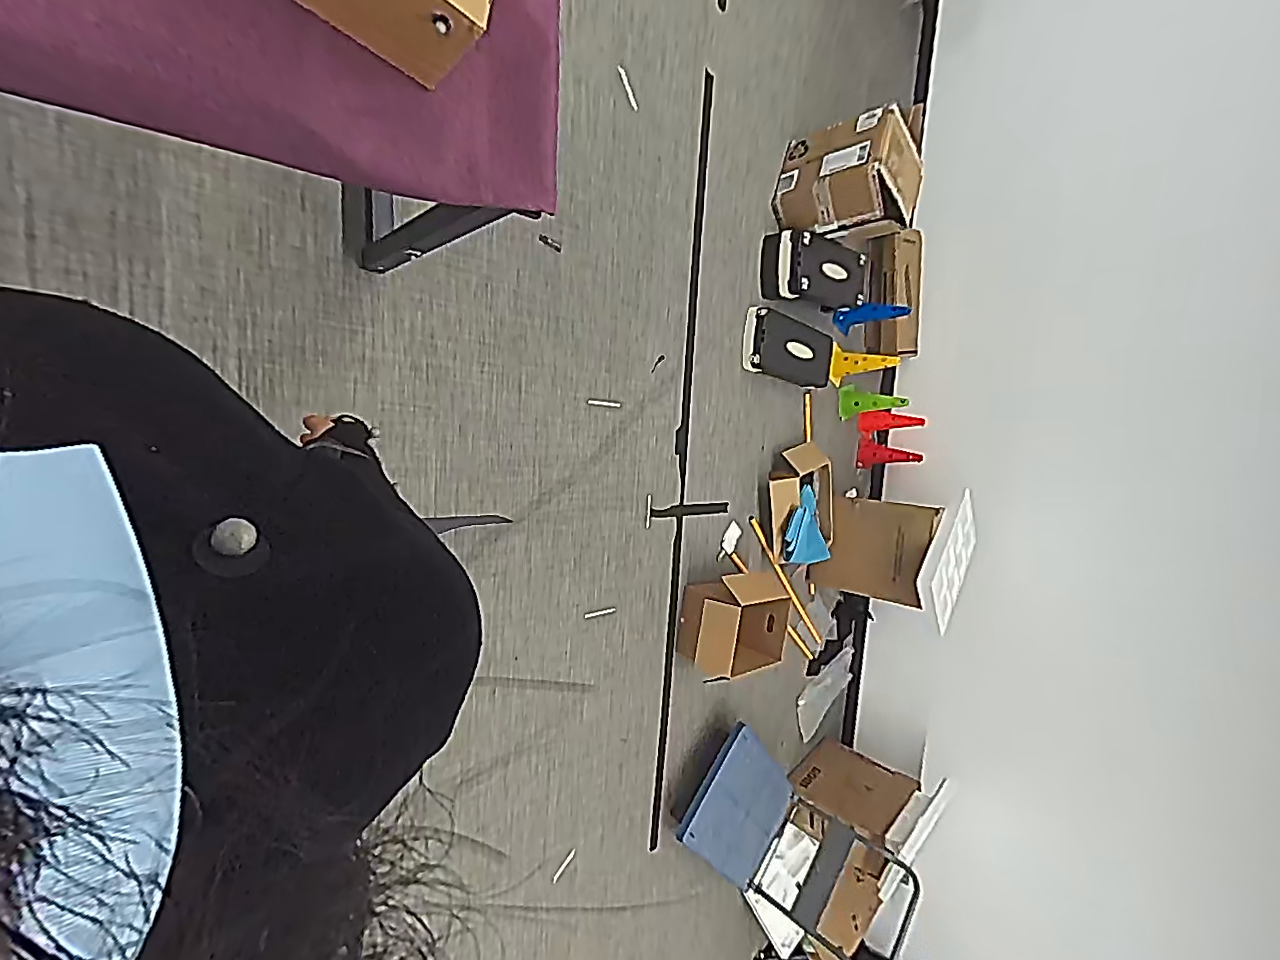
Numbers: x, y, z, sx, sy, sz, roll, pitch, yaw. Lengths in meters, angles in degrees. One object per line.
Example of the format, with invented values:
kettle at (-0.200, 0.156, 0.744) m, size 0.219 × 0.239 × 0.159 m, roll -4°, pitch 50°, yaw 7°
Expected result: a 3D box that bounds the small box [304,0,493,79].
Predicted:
small box at (-0.280, -0.621, 0.628) m, size 0.179 × 0.176 × 0.168 m, roll 11°, pitch 89°, yaw -44°
